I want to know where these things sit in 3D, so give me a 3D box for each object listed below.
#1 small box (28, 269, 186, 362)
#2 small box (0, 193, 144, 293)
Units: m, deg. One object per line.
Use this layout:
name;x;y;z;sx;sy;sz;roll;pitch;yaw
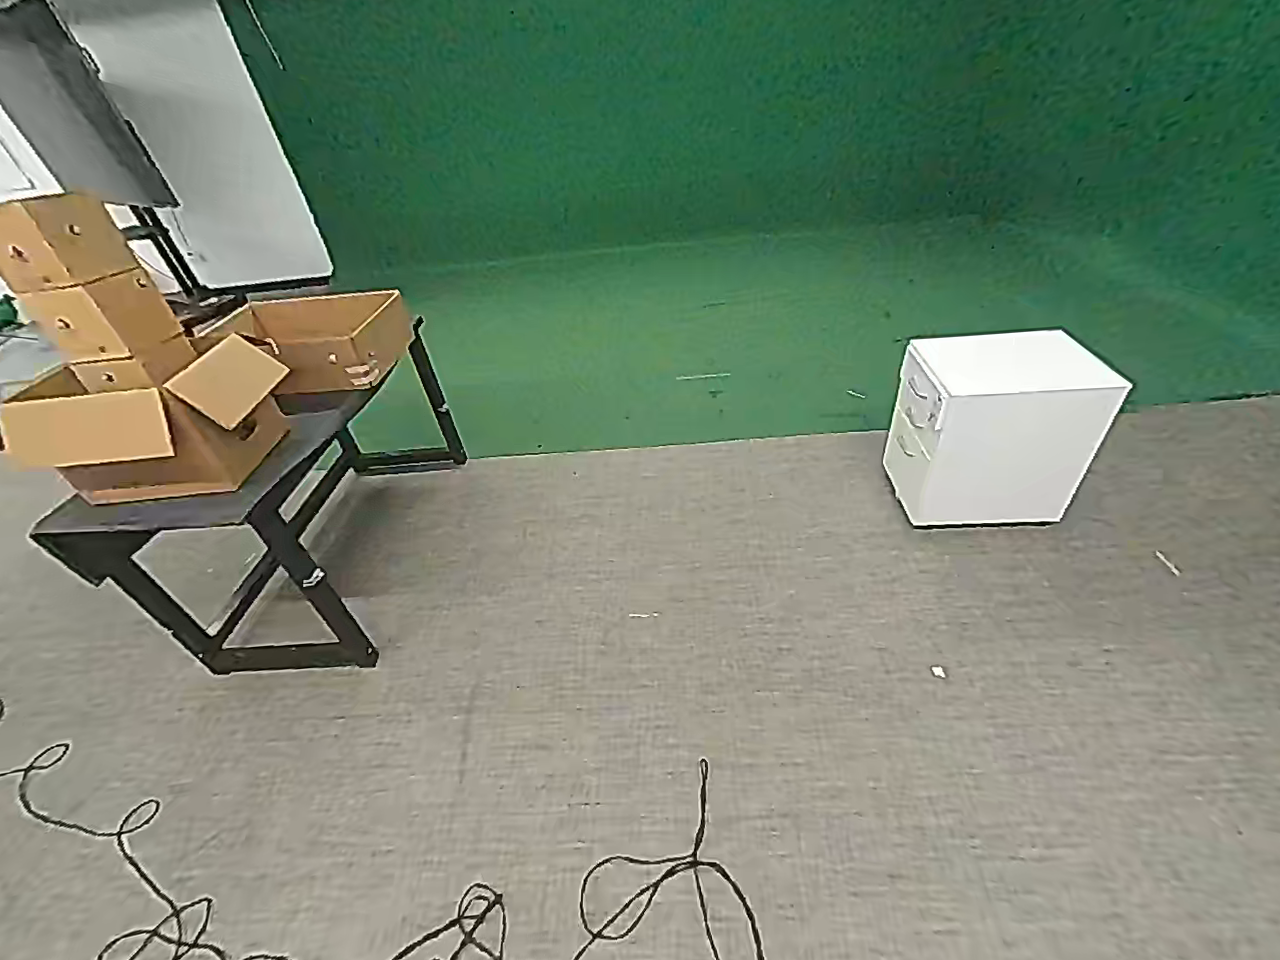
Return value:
small box;-1.260;-0.390;1.298;0.168;0.176;0.179;-5;34;6
small box;-1.284;-0.524;1.205;0.168;0.176;0.179;-4;35;8
